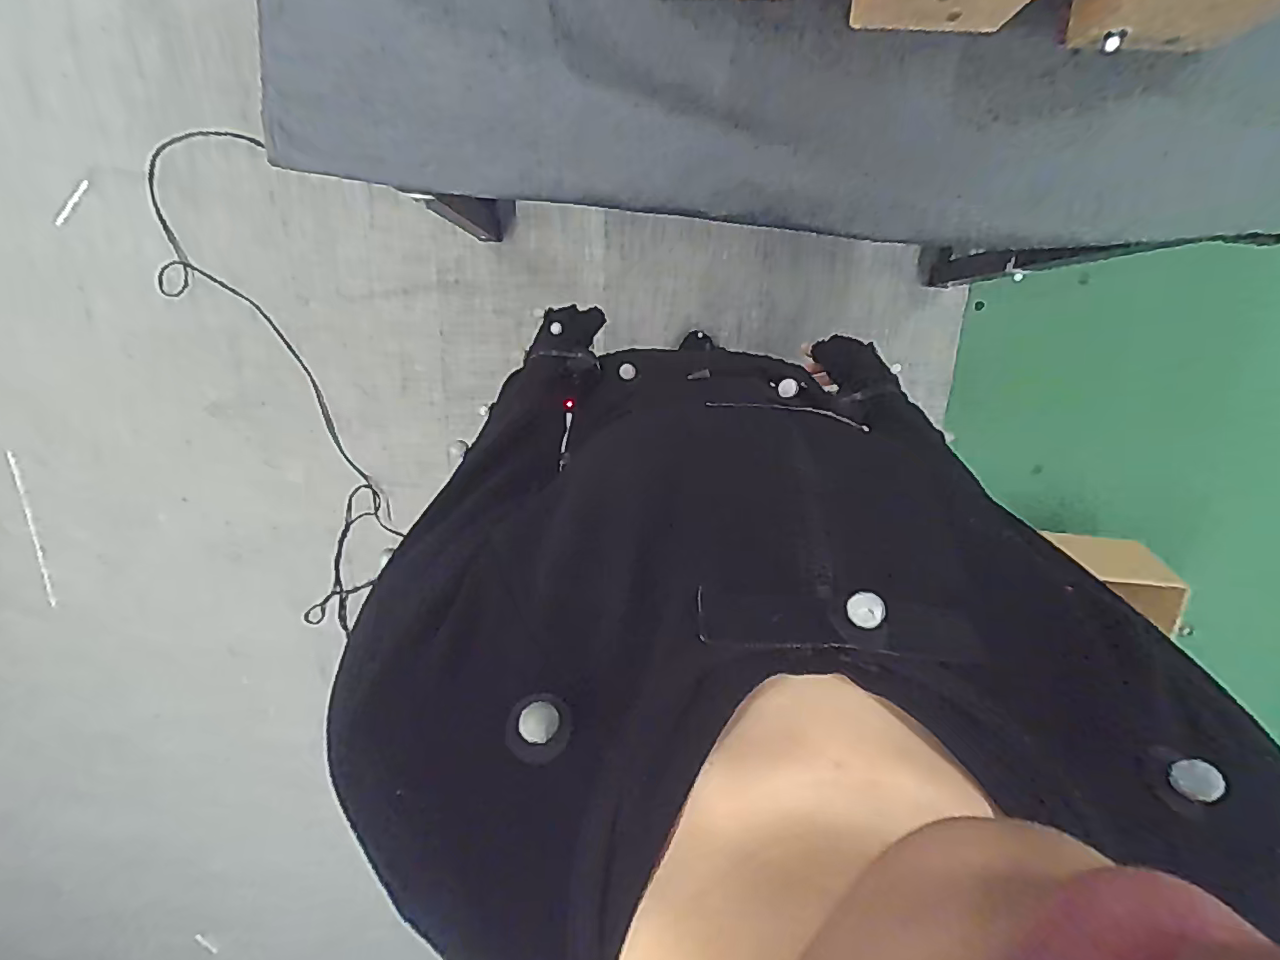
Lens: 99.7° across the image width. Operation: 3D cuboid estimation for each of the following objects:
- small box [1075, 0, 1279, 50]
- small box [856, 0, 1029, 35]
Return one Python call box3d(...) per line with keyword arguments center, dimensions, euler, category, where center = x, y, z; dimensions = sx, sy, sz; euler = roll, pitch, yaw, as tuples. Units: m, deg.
box3d(center=(0.555, -0.538, 0.500), dimensions=(0.168, 0.176, 0.179), euler=(1, 103, 0), category="small box")
box3d(center=(0.315, -0.554, 0.500), dimensions=(0.168, 0.176, 0.179), euler=(1, 103, 0), category="small box")
